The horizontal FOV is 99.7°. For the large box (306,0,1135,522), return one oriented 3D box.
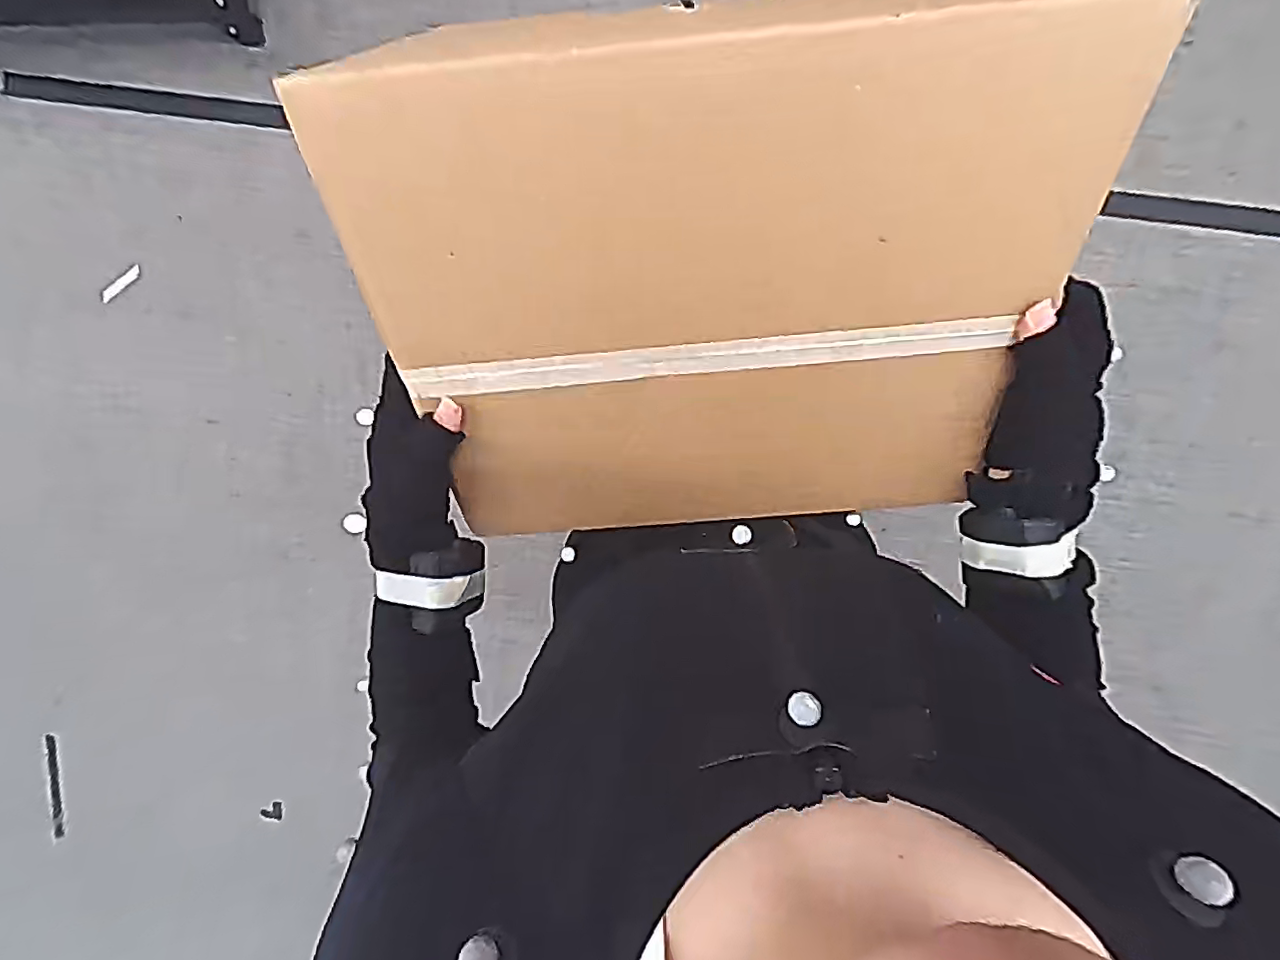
[{"bbox_3d":[0.041,-0.192,0.464,0.408,0.320,0.320,-5,133,2],"label":"large box"}]
